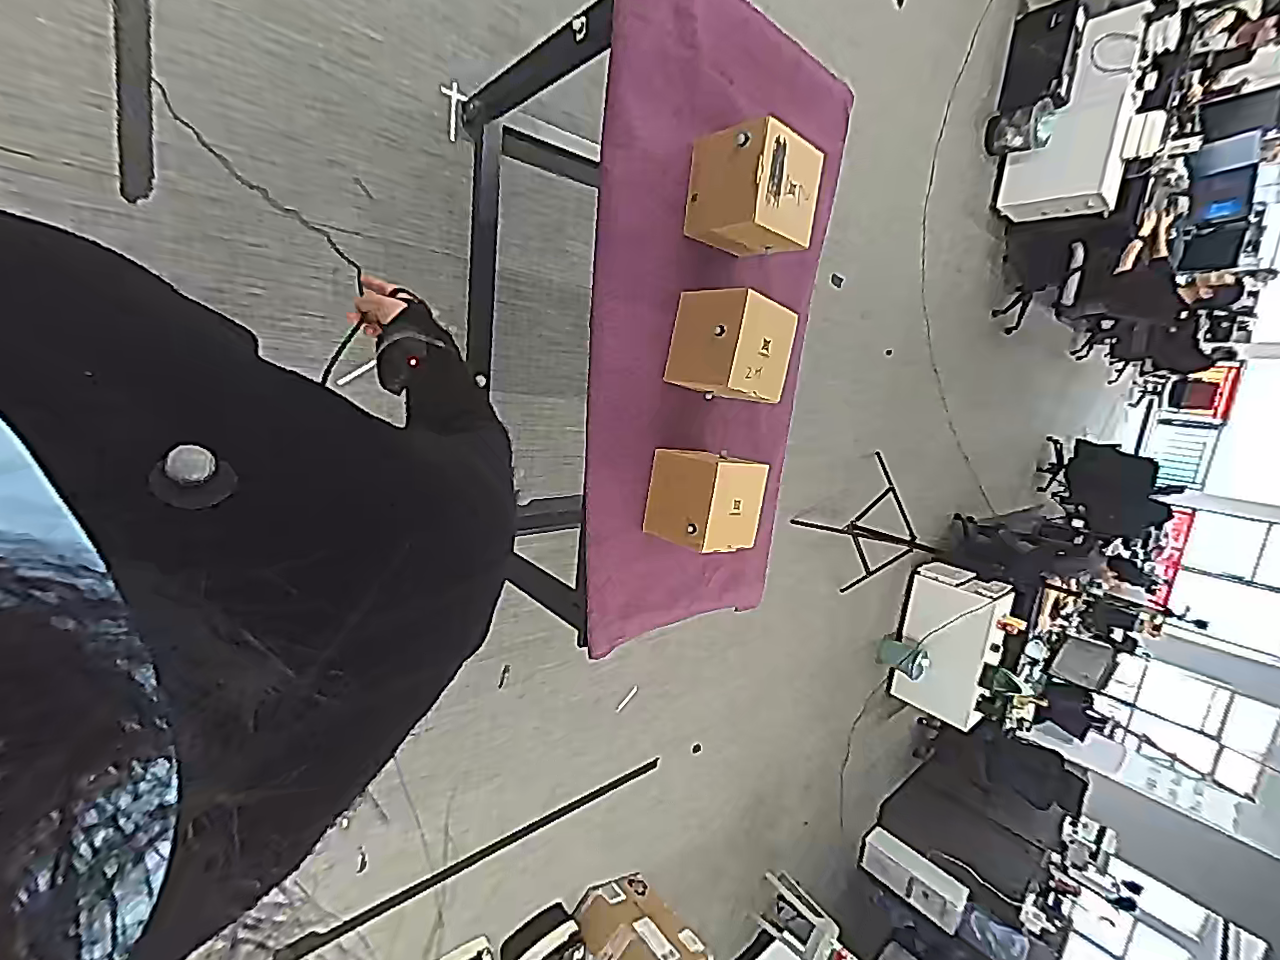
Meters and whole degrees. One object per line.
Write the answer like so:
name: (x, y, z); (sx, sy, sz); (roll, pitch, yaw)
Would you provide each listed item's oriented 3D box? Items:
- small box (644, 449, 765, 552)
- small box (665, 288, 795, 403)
small box: (0.127, 0.035, 1.099); (0.168, 0.176, 0.179); (1, 101, -44)
small box: (0.171, -0.258, 1.054); (0.168, 0.176, 0.179); (7, 98, -43)
